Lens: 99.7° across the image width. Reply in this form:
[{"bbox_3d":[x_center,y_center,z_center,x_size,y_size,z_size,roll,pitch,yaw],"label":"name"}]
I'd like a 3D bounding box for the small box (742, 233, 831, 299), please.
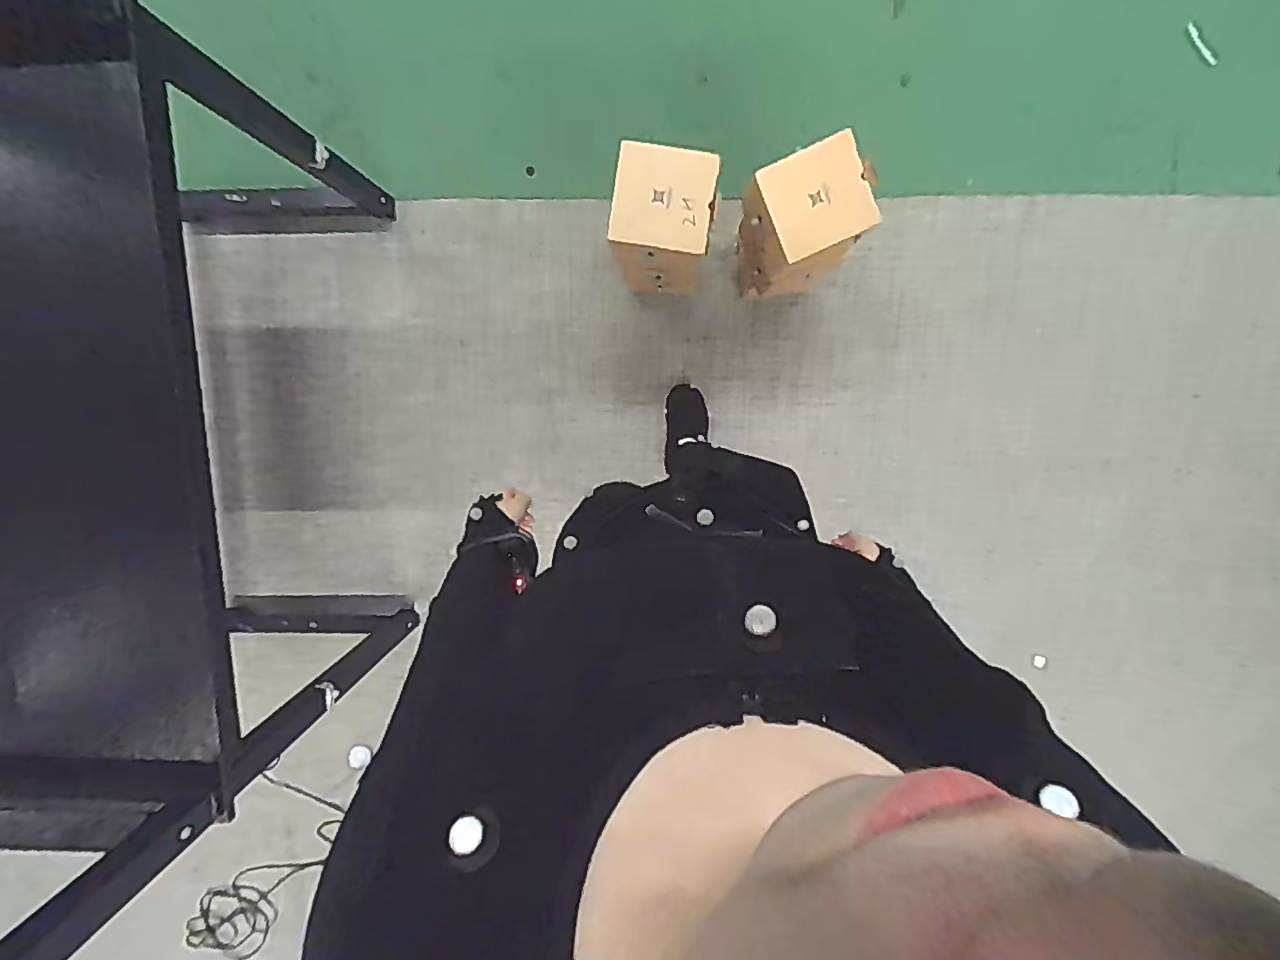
[{"bbox_3d":[0.347,-0.543,1.307,0.179,0.176,0.168,-7,99,3],"label":"small box"}]

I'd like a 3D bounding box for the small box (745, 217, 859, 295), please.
[{"bbox_3d":[0.332,-0.508,1.149,0.179,0.176,0.168,-19,99,4],"label":"small box"}]

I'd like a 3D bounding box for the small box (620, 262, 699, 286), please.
[{"bbox_3d":[0.054,-0.523,1.156,0.168,0.176,0.179,7,99,2],"label":"small box"}]

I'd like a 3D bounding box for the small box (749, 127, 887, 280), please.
[{"bbox_3d":[0.310,-0.488,0.987,0.179,0.176,0.168,-24,98,5],"label":"small box"}]

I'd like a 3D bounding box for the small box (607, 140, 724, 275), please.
[{"bbox_3d":[0.047,-0.488,0.994,0.179,0.176,0.168,10,99,1],"label":"small box"}]
